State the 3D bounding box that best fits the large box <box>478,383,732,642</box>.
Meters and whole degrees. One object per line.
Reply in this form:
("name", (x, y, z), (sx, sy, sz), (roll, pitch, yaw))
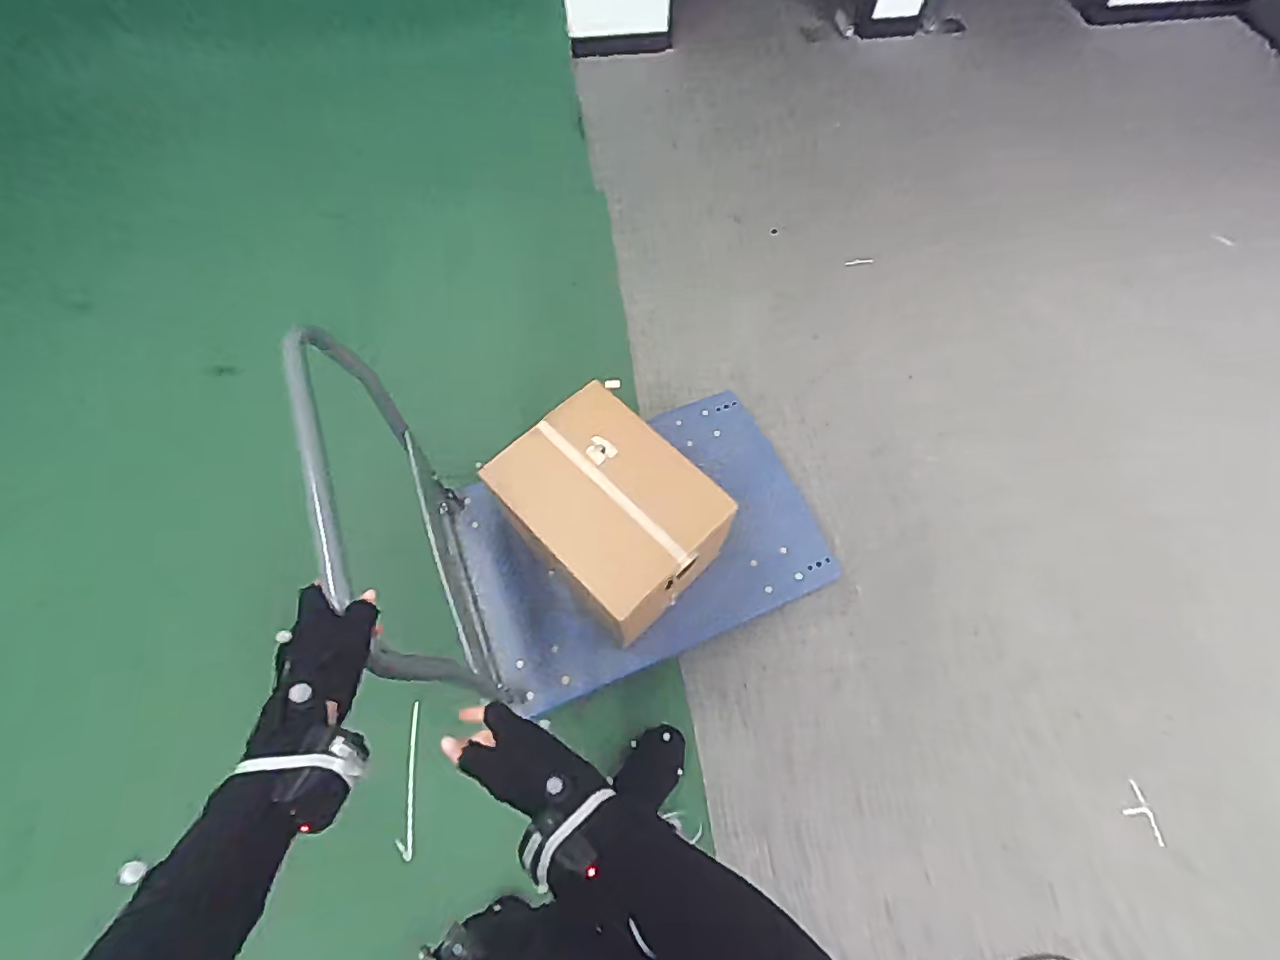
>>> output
("large box", (-0.067, 0.079, 1.164), (0.320, 0.320, 0.408), (-40, 70, -18))
